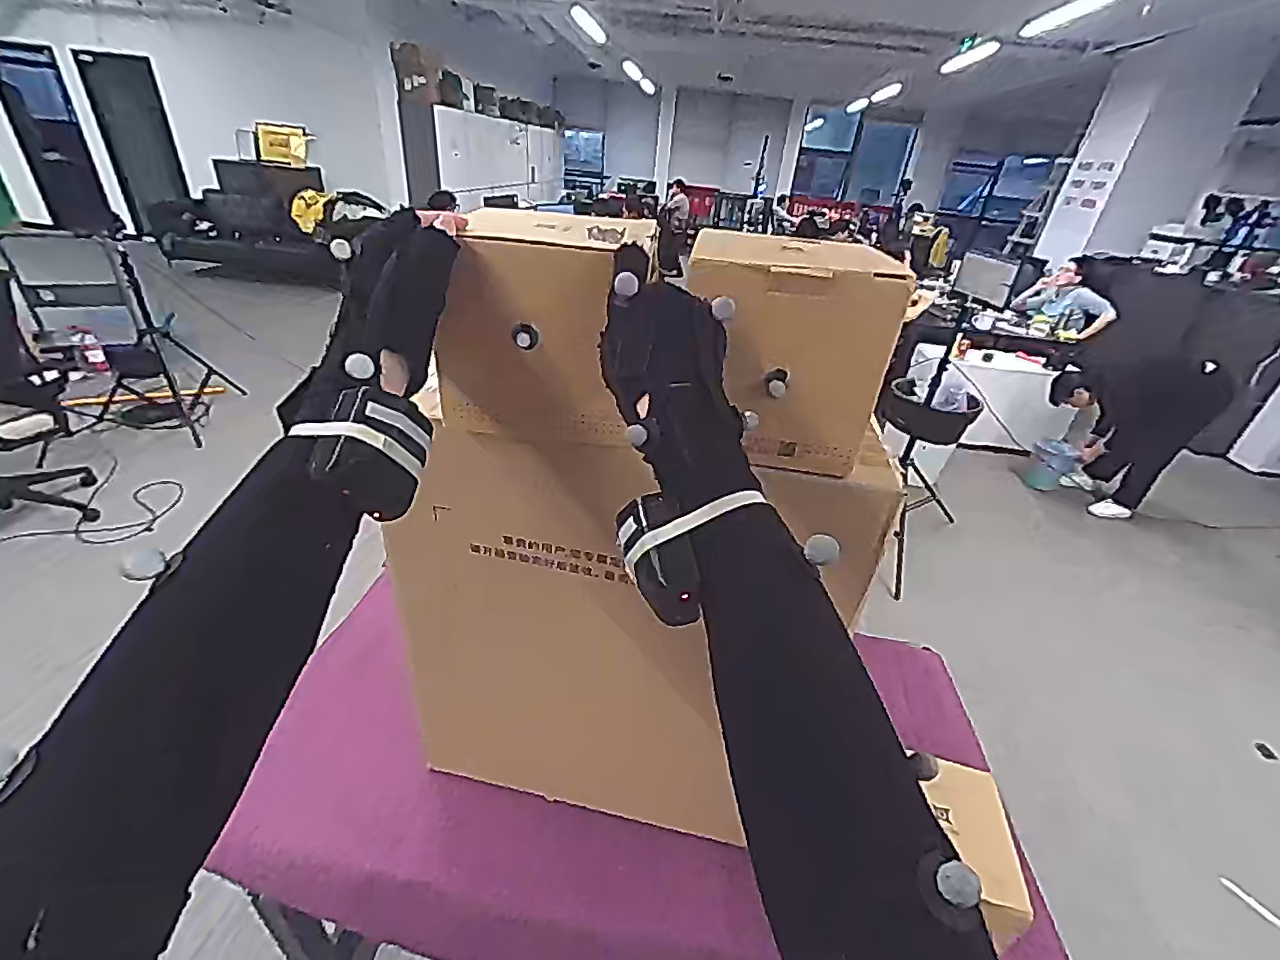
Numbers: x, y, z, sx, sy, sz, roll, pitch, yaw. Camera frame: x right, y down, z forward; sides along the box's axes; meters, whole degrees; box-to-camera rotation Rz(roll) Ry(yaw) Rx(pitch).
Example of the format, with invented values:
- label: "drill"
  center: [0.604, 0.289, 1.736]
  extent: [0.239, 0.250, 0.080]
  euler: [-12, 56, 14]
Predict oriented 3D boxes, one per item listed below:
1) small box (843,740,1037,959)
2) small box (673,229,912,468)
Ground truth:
- label: "small box"
  center: [0.381, 0.497, 0.726]
  extent: [0.168, 0.176, 0.179]
  euler: [13, 30, 11]
- label: "small box"
  center: [0.126, -0.128, 0.509]
  extent: [0.168, 0.176, 0.179]
  euler: [9, 32, 5]
